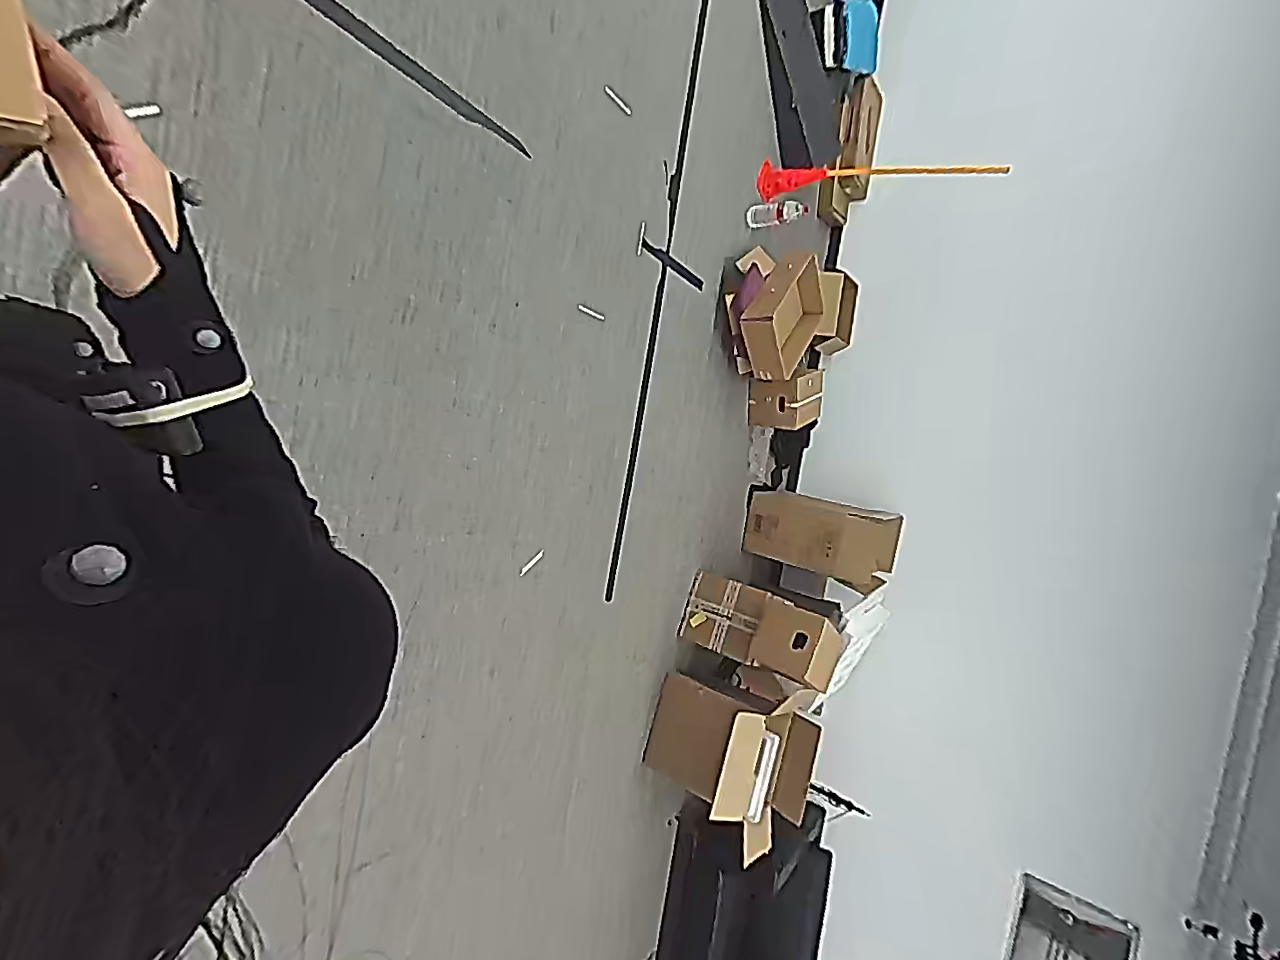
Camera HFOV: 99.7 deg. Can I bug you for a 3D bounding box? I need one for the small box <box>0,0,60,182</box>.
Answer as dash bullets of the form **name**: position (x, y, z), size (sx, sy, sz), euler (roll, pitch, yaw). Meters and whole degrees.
- **small box**: position (-0.397, -0.244, 0.229), size (0.168, 0.176, 0.179), euler (-20, 115, -52)
